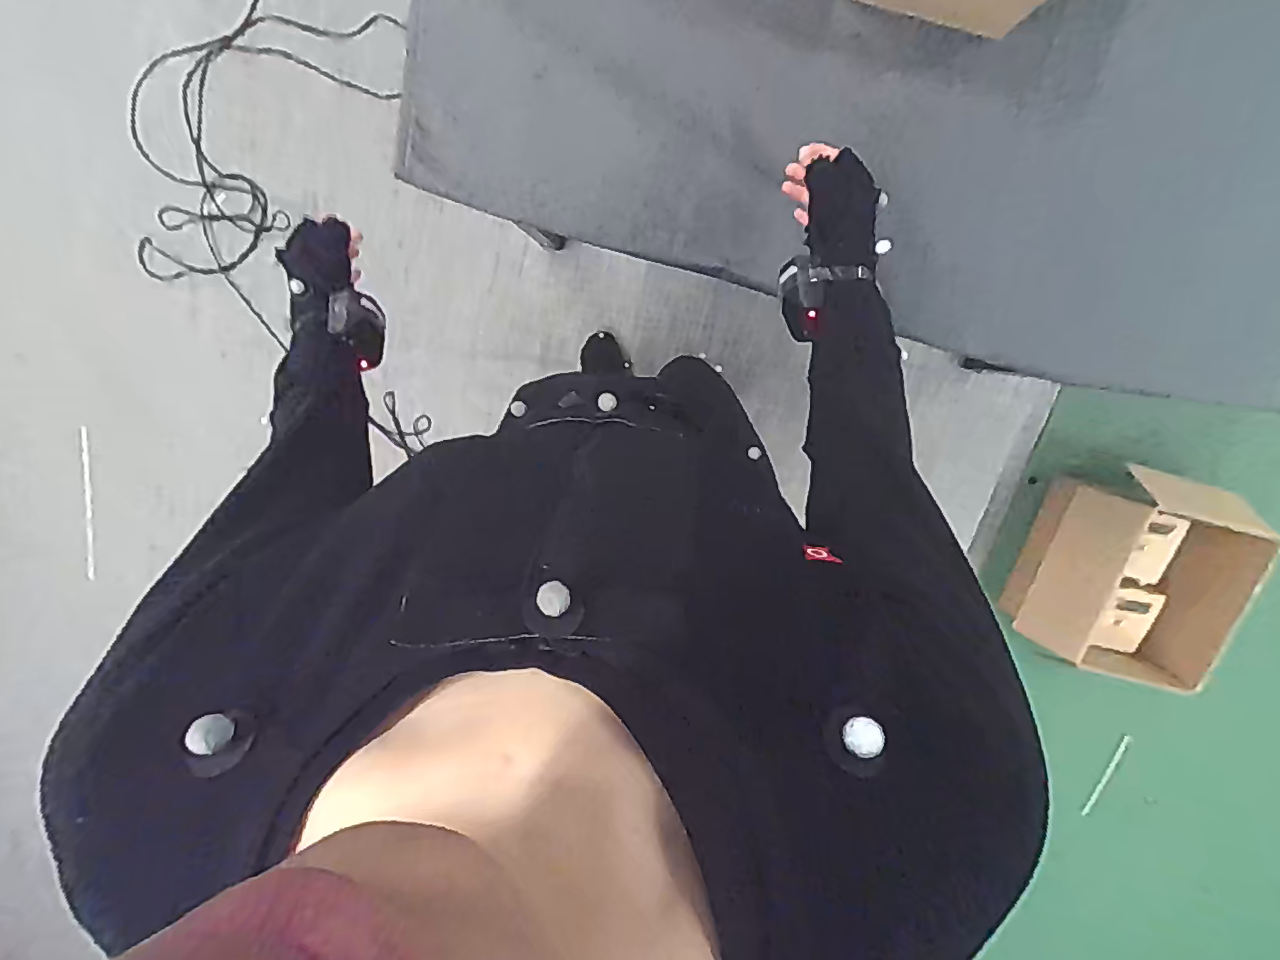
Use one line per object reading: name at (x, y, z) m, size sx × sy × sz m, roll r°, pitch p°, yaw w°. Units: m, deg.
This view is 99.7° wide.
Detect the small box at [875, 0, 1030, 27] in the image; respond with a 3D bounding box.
small box at (0.329, -0.562, 0.493) m, size 0.179 × 0.176 × 0.168 m, roll 13°, pitch 104°, yaw -2°
